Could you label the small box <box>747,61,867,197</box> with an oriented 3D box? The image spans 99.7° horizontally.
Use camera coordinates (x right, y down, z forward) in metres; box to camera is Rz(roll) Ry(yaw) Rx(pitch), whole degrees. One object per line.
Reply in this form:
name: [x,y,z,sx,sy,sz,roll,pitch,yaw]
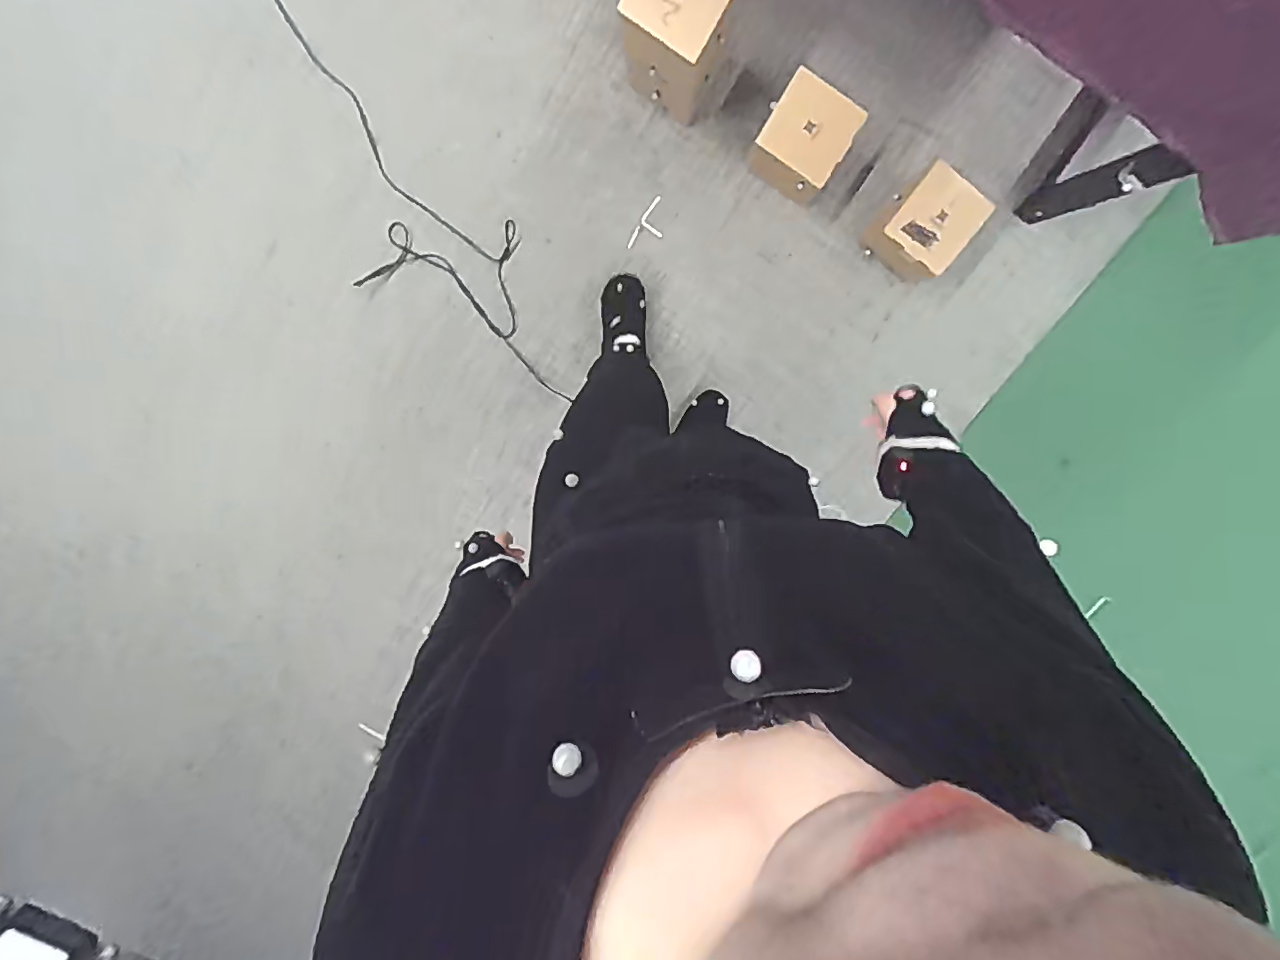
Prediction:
small box: [0.358,-0.763,1.201,0.179,0.176,0.168,31,105,-6]
